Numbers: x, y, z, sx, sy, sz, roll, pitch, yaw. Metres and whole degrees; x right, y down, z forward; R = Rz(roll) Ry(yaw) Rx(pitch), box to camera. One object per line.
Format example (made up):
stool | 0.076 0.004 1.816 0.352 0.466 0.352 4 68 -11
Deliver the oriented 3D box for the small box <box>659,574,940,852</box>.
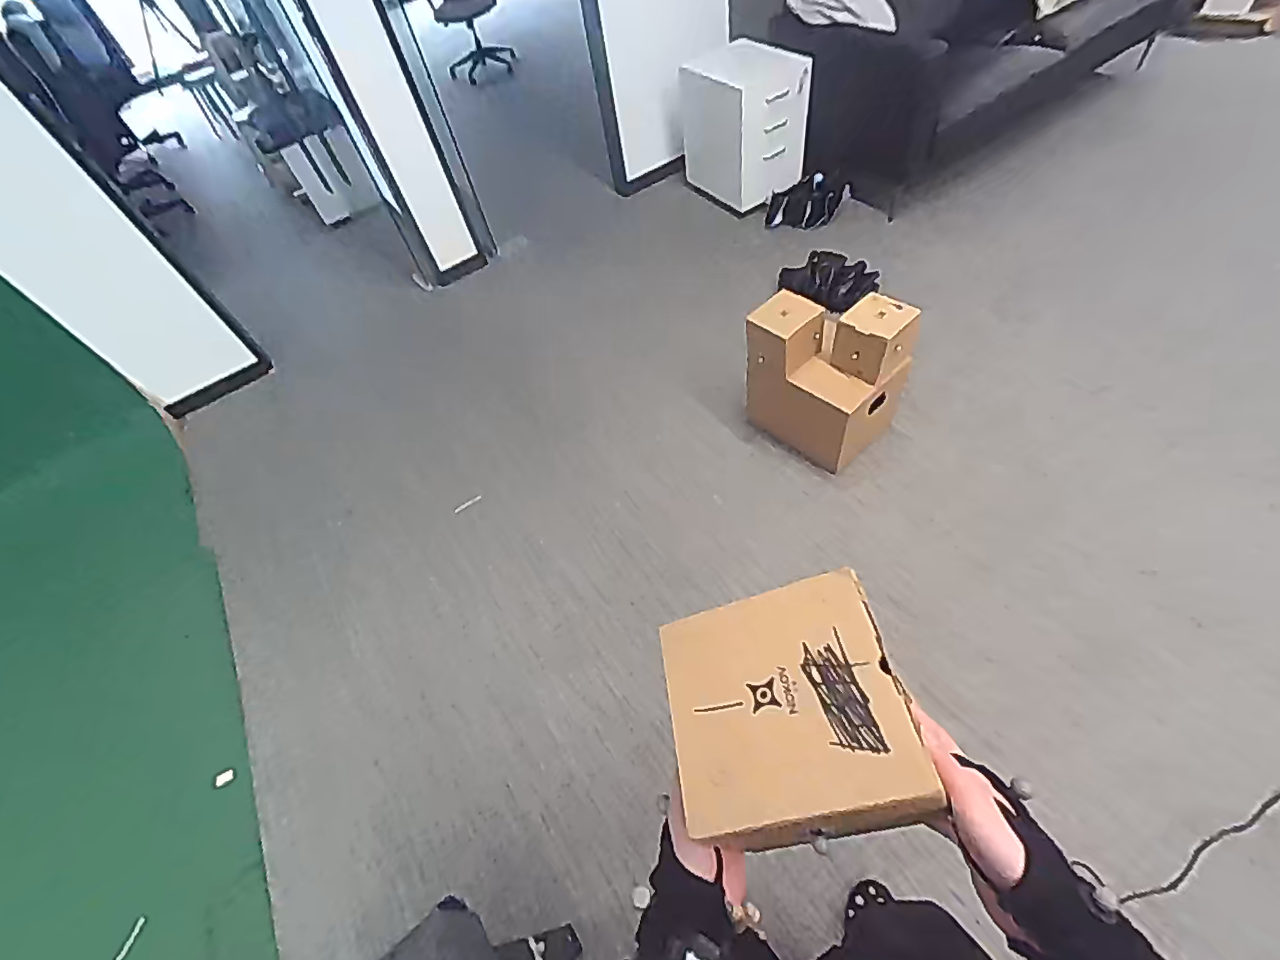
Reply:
small box | 0.138 0.210 0.471 0.179 0.176 0.168 -23 47 17

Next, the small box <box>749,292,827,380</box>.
small box | 0.464 -0.453 1.708 0.179 0.176 0.168 -41 55 -14

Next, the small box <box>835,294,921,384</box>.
small box | 0.710 -0.422 1.632 0.179 0.176 0.168 -40 56 -19
